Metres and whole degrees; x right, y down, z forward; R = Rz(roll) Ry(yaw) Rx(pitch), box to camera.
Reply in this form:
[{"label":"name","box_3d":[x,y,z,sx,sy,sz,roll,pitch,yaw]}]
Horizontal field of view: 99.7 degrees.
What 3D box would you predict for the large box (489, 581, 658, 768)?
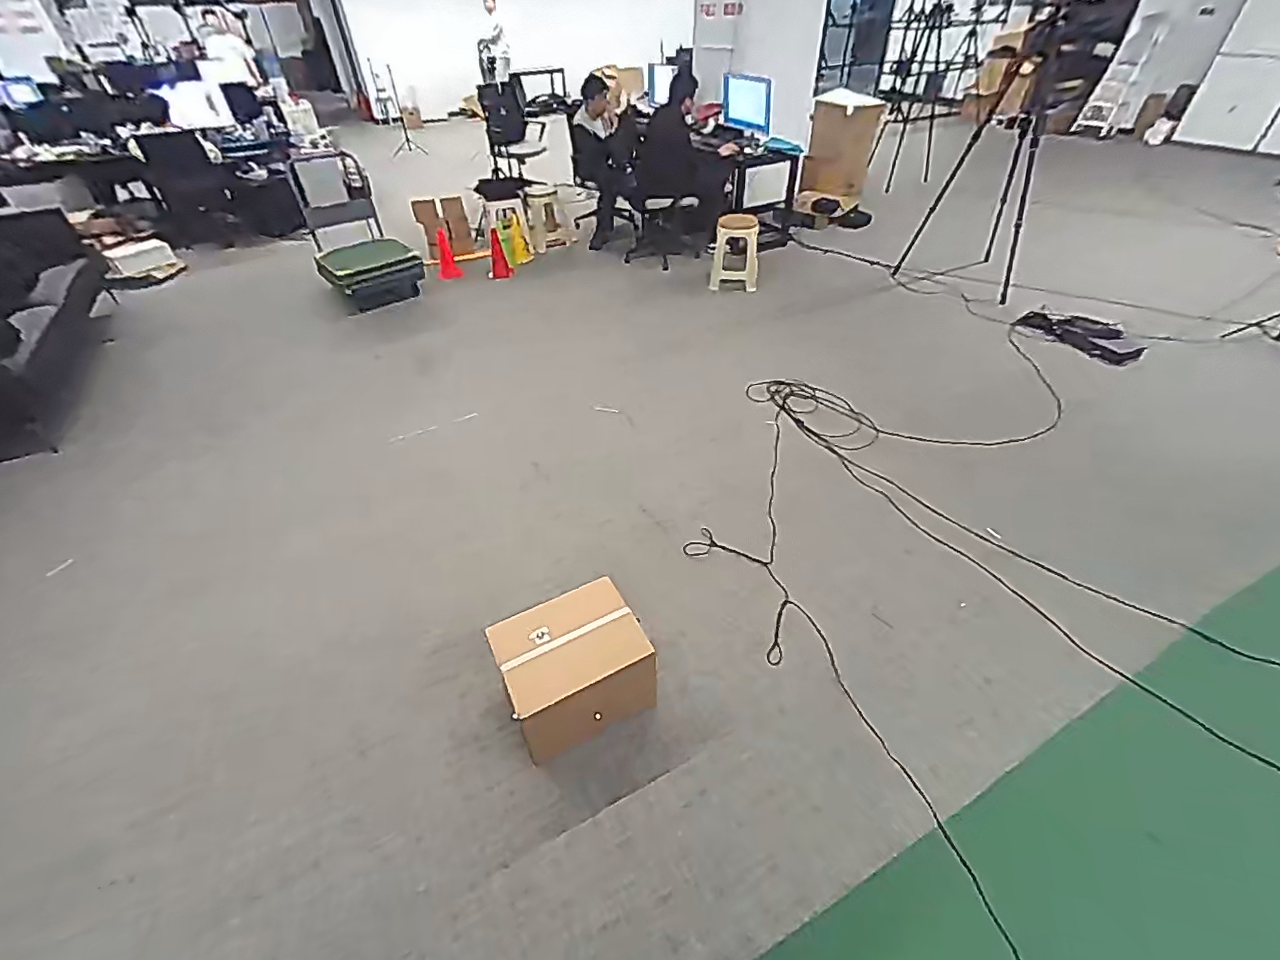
[{"label":"large box","box_3d":[-0.192,0.587,1.653,0.408,0.320,0.320,-22,44,-20]}]
